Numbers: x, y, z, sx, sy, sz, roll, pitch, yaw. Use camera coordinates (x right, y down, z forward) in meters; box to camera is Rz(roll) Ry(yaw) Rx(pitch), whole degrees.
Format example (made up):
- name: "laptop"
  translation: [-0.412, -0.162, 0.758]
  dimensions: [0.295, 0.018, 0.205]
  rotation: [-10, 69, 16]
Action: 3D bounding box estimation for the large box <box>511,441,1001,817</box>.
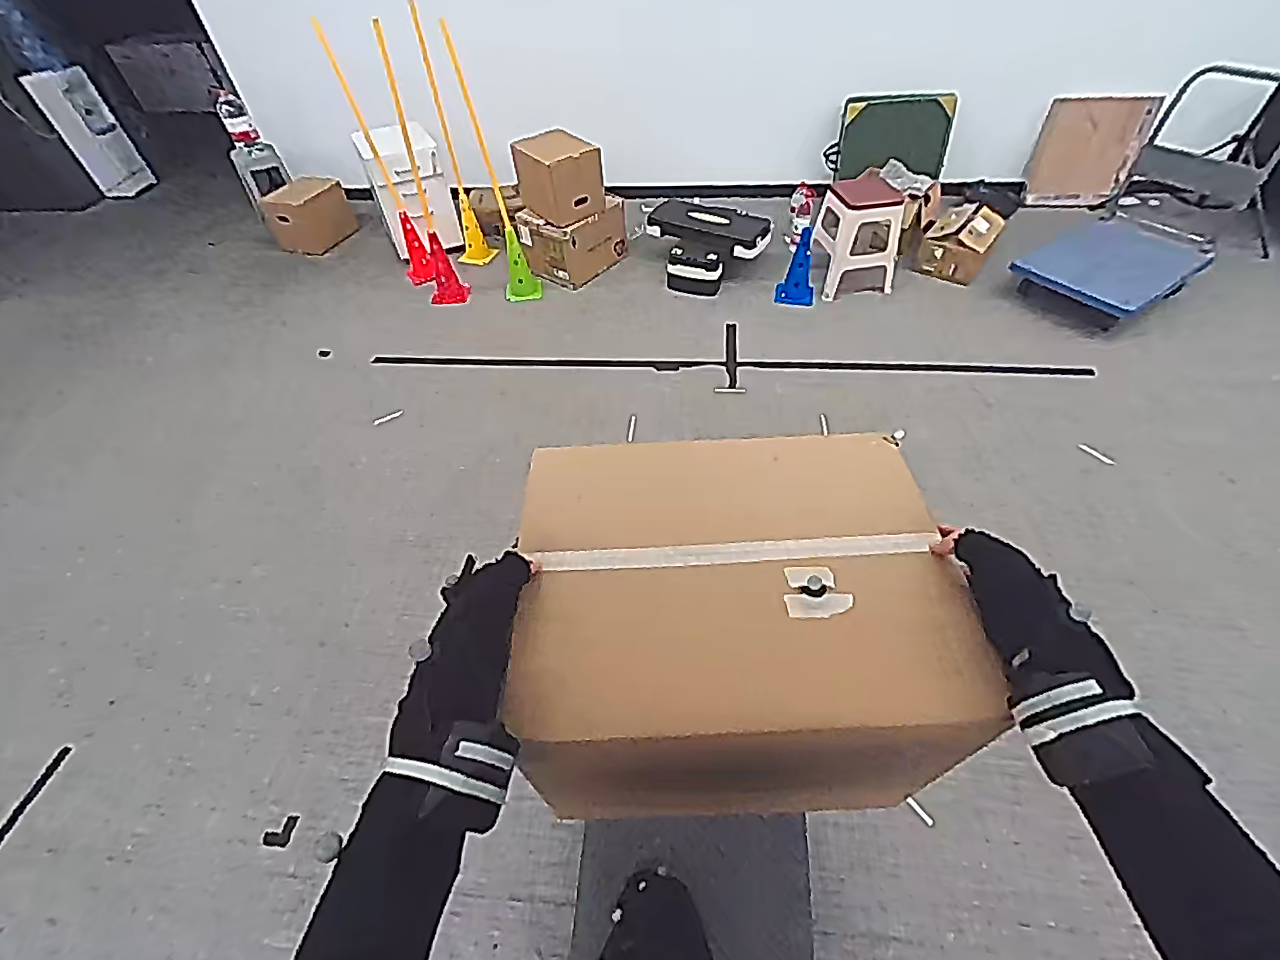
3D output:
- name: "large box"
  translation: [0.091, 0.179, 0.638]
  dimensions: [0.408, 0.320, 0.320]
  rotation: [-3, 48, 0]
